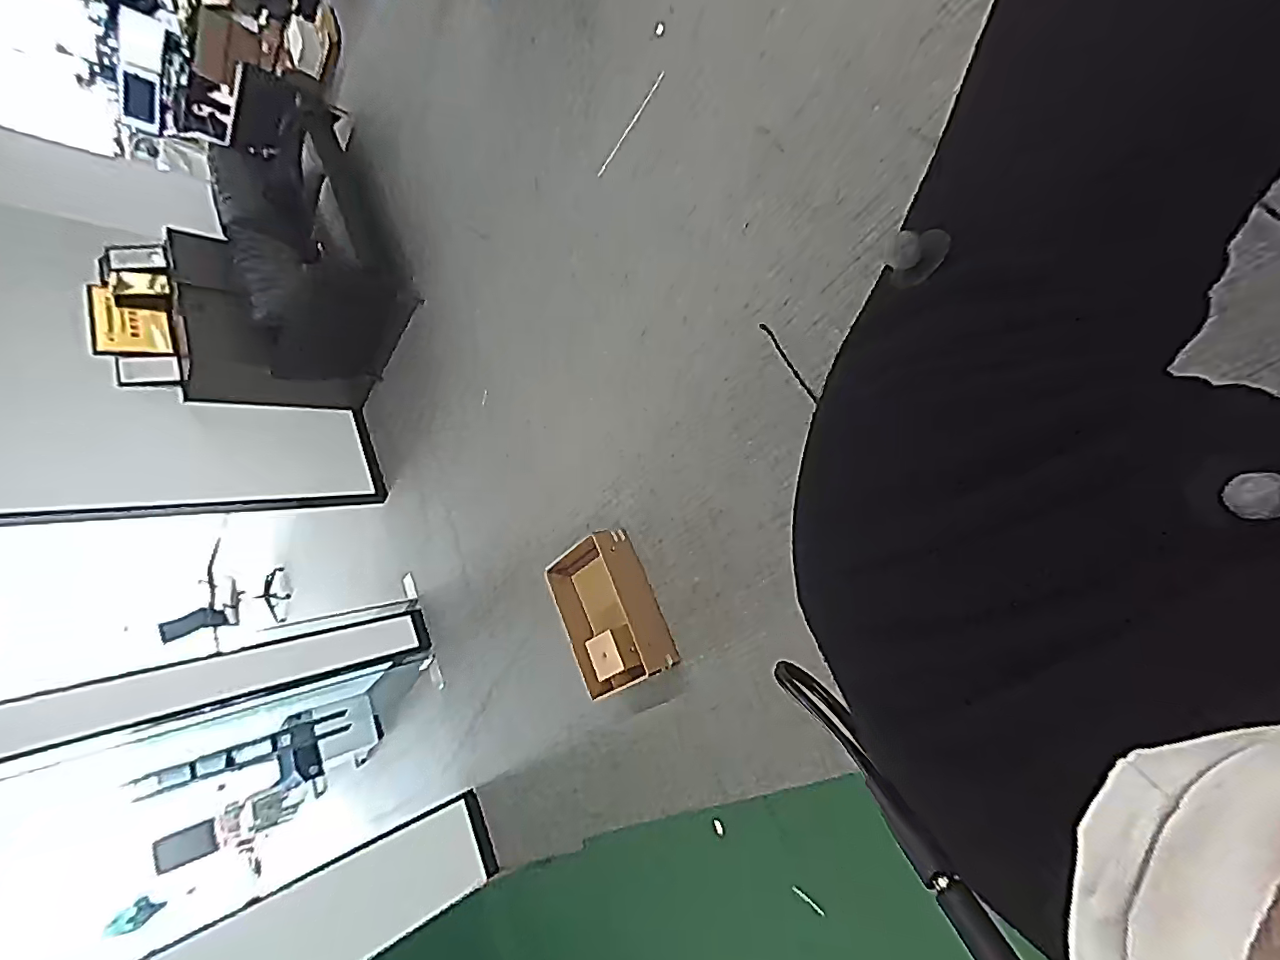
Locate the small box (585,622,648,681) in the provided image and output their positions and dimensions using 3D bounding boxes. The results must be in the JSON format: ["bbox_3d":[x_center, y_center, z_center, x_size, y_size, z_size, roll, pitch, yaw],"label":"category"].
[{"bbox_3d":[-0.090,0.698,2.217,0.179,0.176,0.168,-39,66,38],"label":"small box"}]
